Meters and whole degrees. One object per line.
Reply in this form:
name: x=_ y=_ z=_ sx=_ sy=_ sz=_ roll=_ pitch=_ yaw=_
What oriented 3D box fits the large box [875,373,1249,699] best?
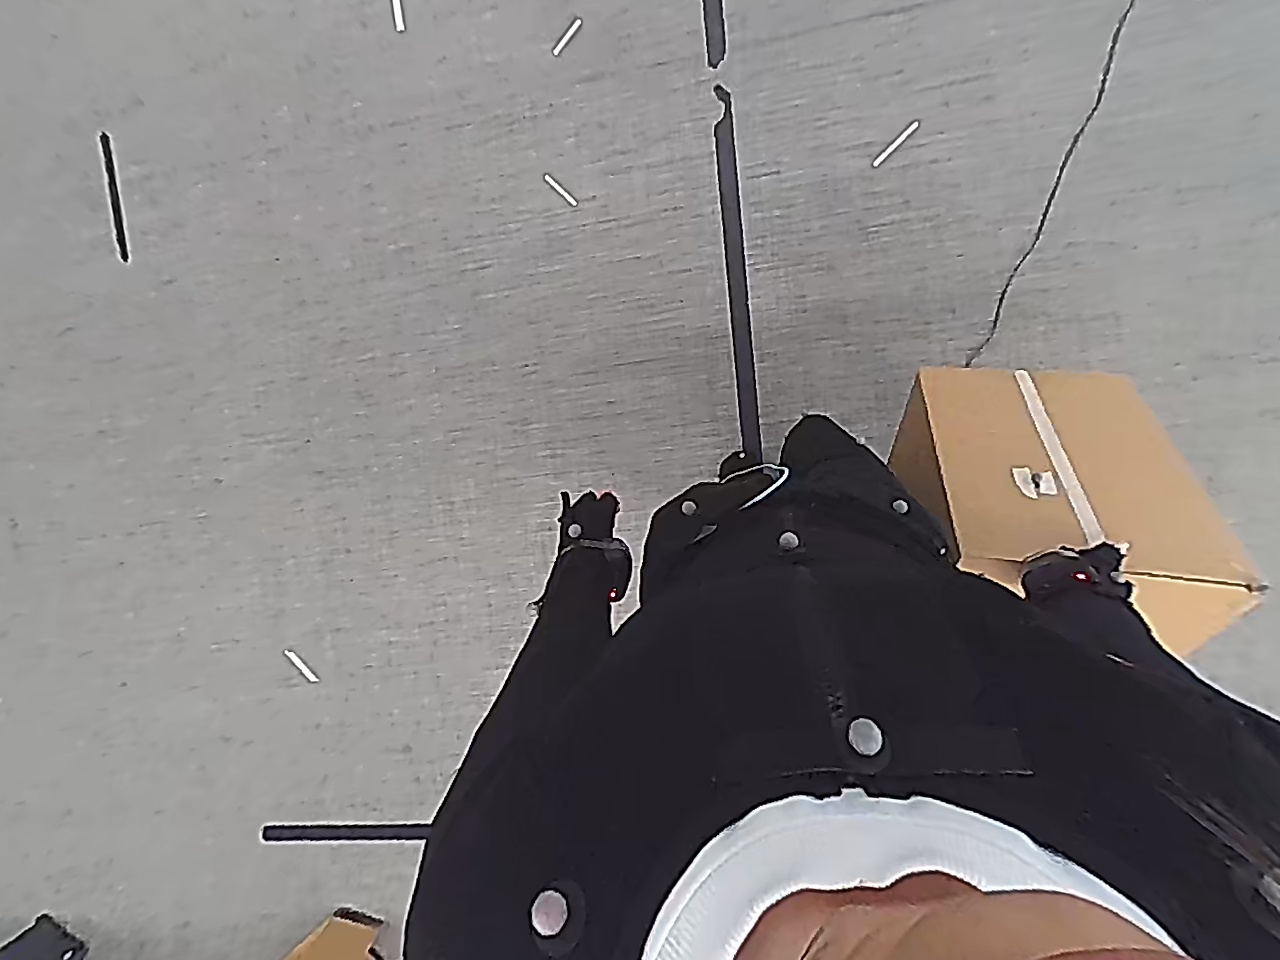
large box: x=0.586 y=0.075 z=0.869 sx=0.320 sy=0.408 sz=0.320 roll=5 pitch=137 yaw=14
